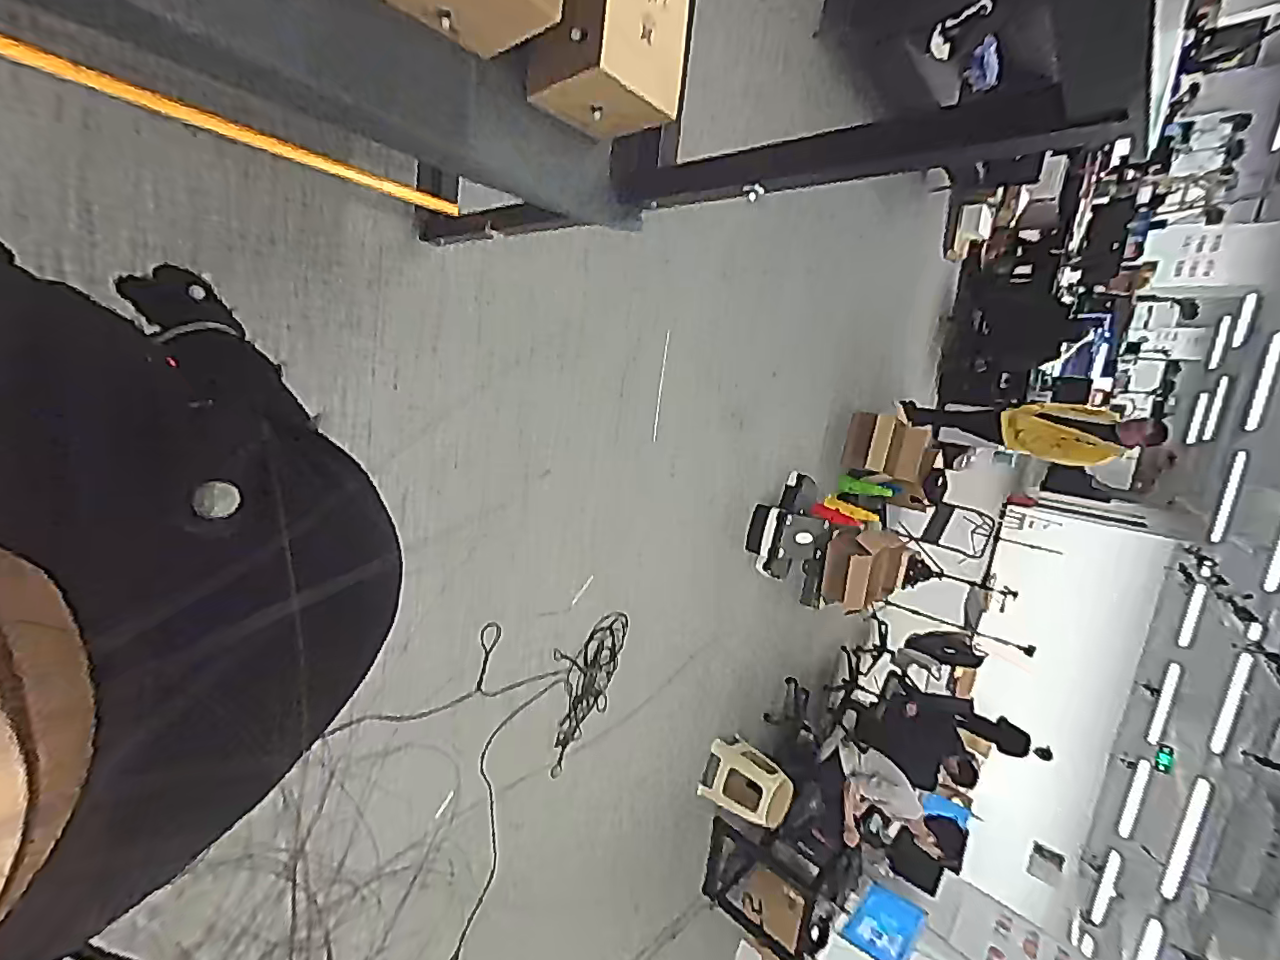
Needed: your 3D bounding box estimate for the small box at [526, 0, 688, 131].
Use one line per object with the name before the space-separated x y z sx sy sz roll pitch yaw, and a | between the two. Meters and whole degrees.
small box | -0.054 -0.659 0.813 0.168 0.176 0.179 -5 106 -49
